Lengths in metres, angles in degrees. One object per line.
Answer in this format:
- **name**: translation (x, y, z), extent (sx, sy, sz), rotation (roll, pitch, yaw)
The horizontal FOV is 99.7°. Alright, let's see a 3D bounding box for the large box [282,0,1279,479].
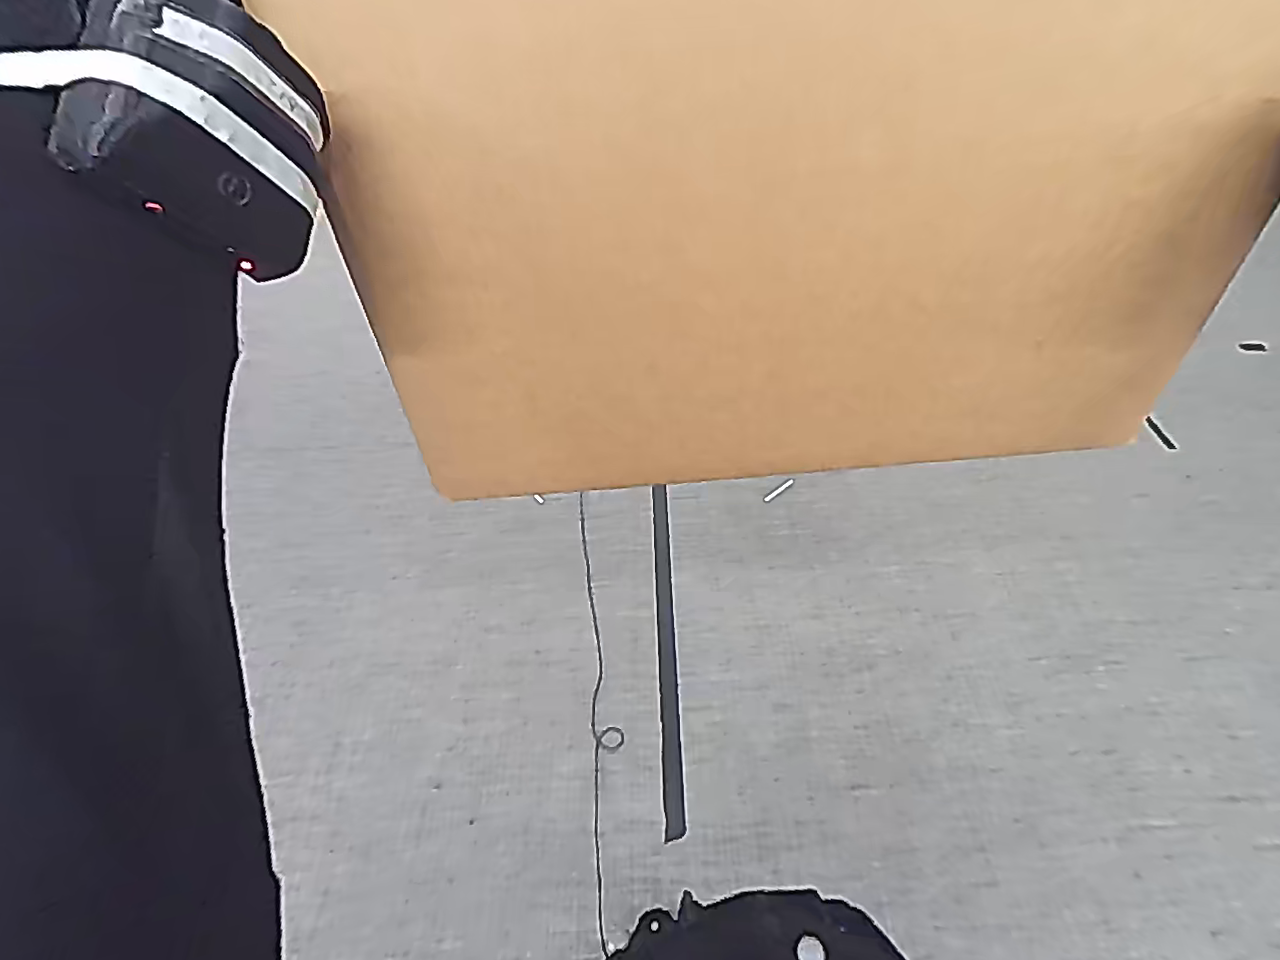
- **large box**: translation (0.064, -0.222, 0.342), extent (0.408, 0.320, 0.320), rotation (-4, 39, -1)
